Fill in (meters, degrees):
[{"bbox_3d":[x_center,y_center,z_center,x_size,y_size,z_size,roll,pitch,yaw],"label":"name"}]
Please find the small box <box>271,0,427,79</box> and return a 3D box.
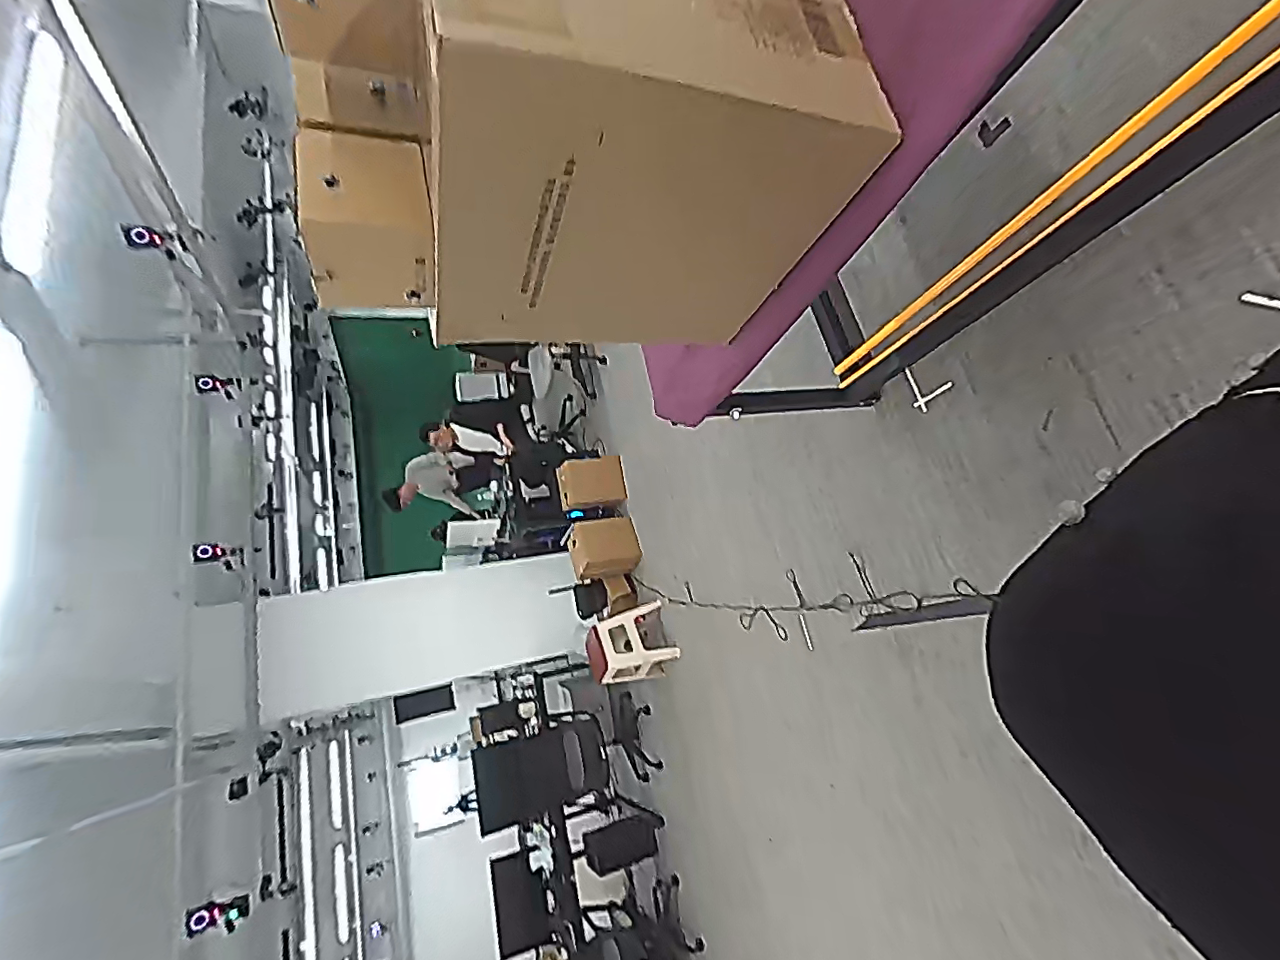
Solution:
[{"bbox_3d":[-0.370,-0.650,0.676,0.179,0.176,0.168,123,135,-60],"label":"small box"}]
